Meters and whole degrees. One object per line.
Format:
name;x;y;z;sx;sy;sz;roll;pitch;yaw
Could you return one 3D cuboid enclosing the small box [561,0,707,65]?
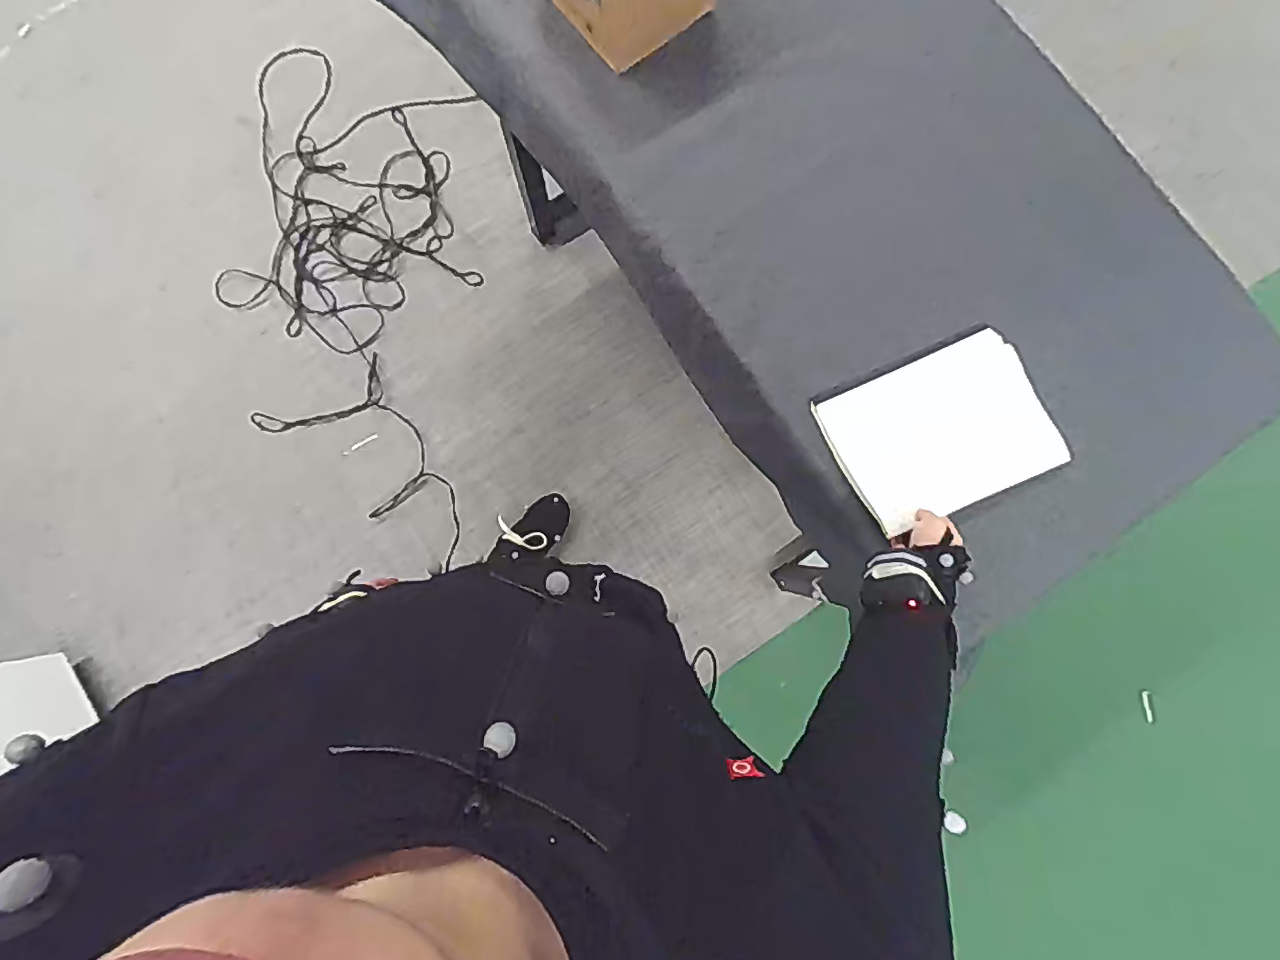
small box;-0.012;-0.673;0.663;0.179;0.176;0.168;-40;87;-7
